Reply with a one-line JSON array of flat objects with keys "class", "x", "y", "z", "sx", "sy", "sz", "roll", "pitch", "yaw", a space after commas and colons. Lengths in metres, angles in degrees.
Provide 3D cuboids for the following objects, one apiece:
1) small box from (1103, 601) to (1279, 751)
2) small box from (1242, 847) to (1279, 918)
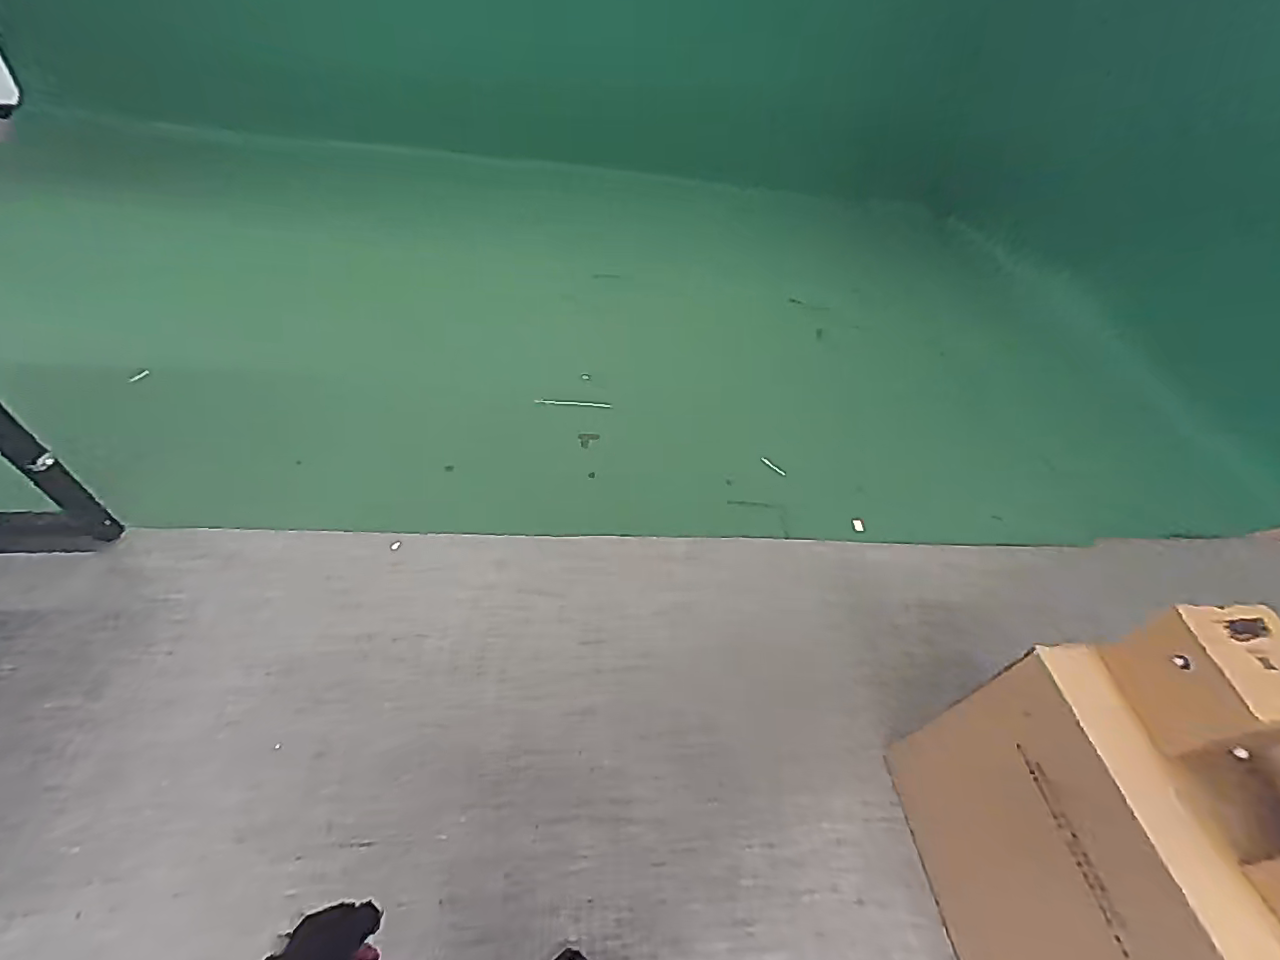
[{"class": "small box", "x": 0.897, "y": 0.307, "z": 0.849, "sx": 0.168, "sy": 0.176, "sz": 0.179, "roll": 1, "pitch": 49, "yaw": -4}, {"class": "small box", "x": 0.932, "y": 0.534, "z": 0.654, "sx": 0.168, "sy": 0.176, "sz": 0.179, "roll": -7, "pitch": 48, "yaw": -13}]
